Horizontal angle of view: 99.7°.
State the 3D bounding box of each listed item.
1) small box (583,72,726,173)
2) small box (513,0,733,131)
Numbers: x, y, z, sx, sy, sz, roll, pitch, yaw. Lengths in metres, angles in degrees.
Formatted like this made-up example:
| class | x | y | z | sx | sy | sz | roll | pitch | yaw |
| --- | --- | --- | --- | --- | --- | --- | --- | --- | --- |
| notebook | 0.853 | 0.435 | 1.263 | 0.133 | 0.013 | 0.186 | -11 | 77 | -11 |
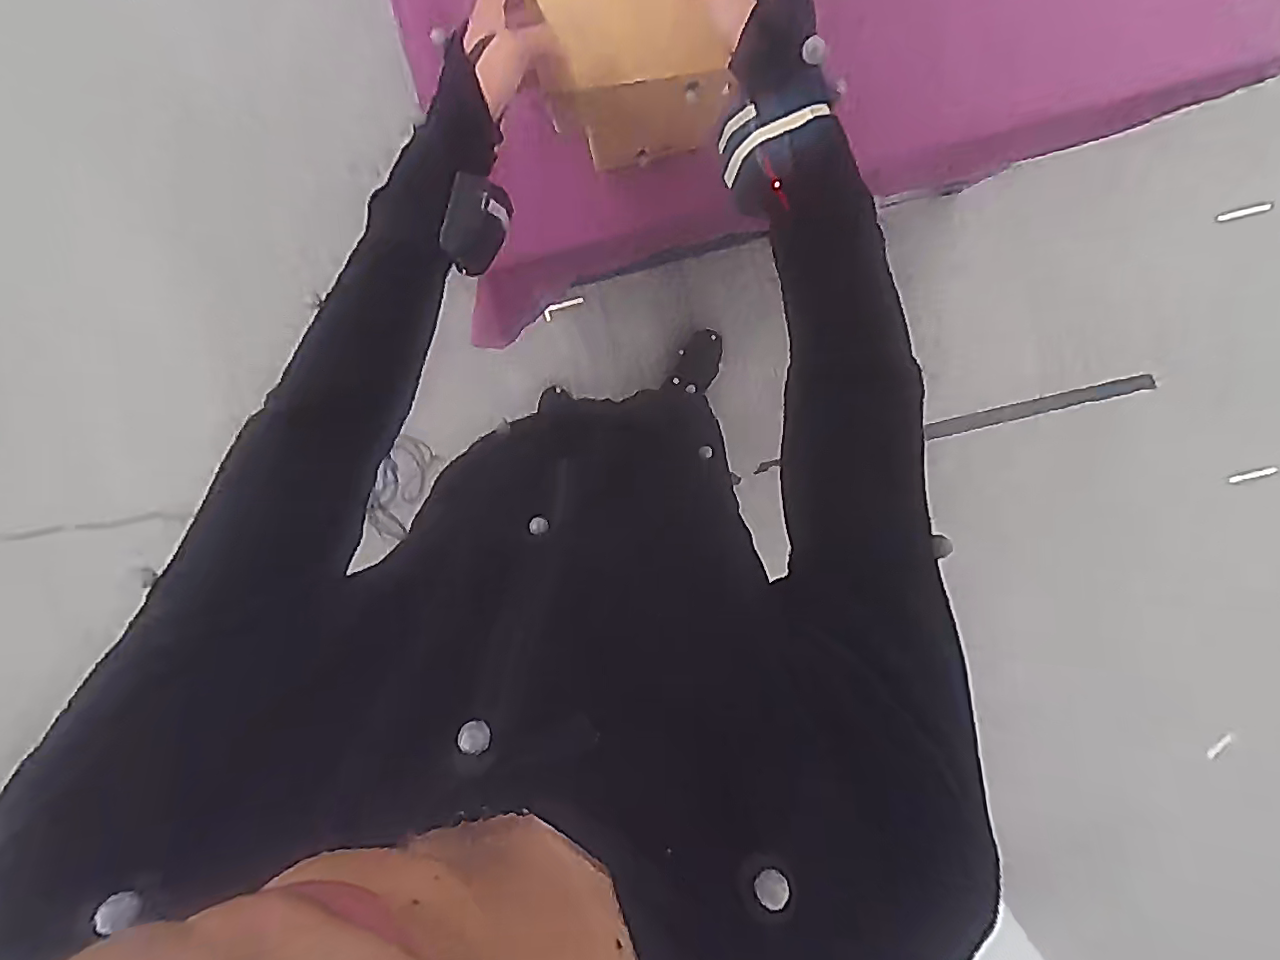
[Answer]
| class | x | y | z | sx | sy | sz | roll | pitch | yaw |
| --- | --- | --- | --- | --- | --- | --- | --- | --- | --- |
| small box | -0.003 | -0.515 | 0.670 | 0.168 | 0.176 | 0.179 | -13 | 104 | 2 |
| small box | -0.022 | -0.439 | 0.496 | 0.179 | 0.176 | 0.168 | -9 | 114 | -1 |
